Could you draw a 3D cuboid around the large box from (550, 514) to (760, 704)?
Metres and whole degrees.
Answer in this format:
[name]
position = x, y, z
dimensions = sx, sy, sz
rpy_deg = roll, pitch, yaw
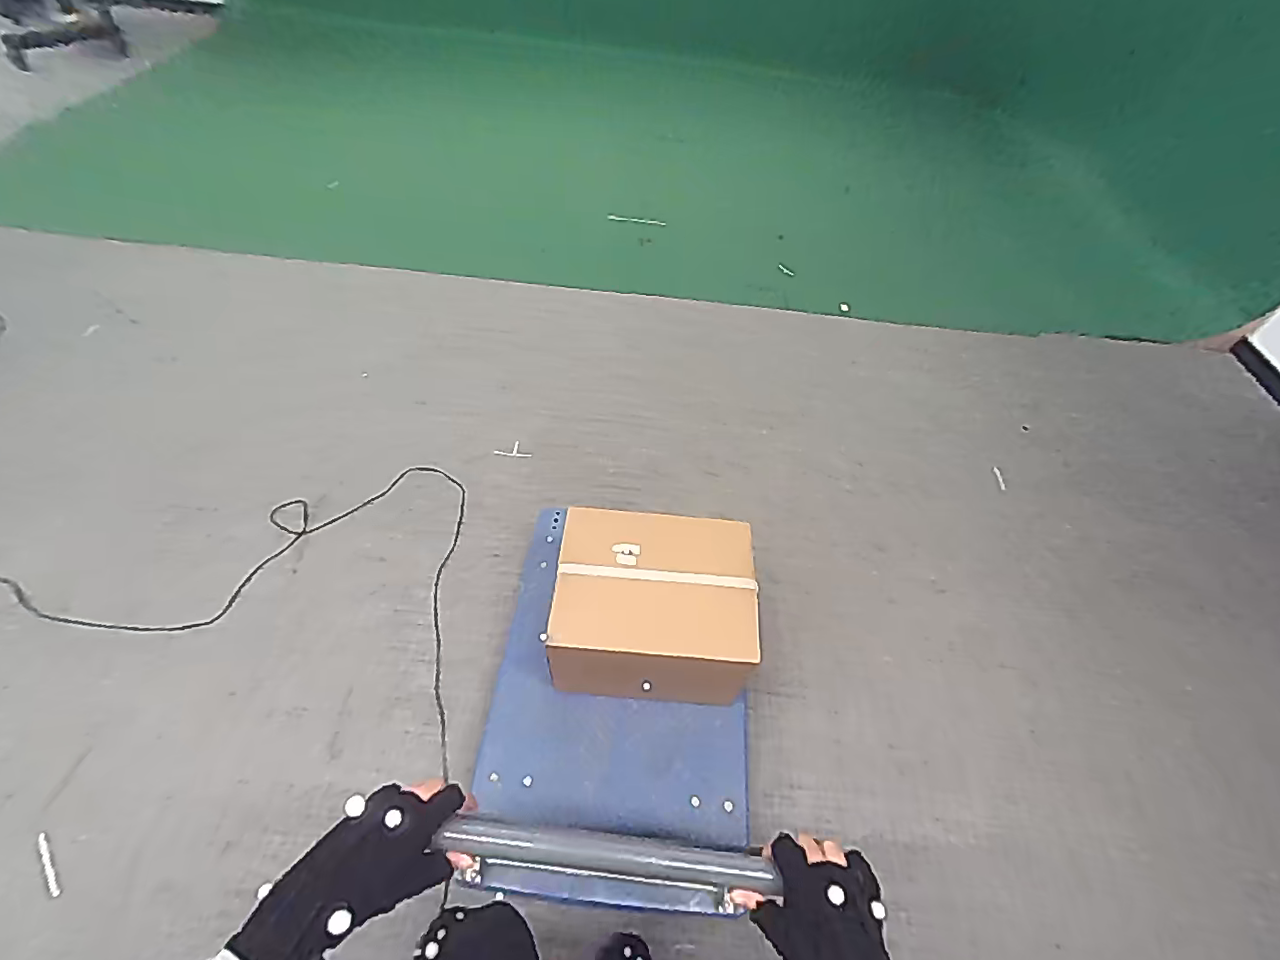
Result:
[large box]
position = 0.028, 0.299, 1.218
dimensions = 0.408, 0.320, 0.320
rpy_deg = 5, 52, -1
